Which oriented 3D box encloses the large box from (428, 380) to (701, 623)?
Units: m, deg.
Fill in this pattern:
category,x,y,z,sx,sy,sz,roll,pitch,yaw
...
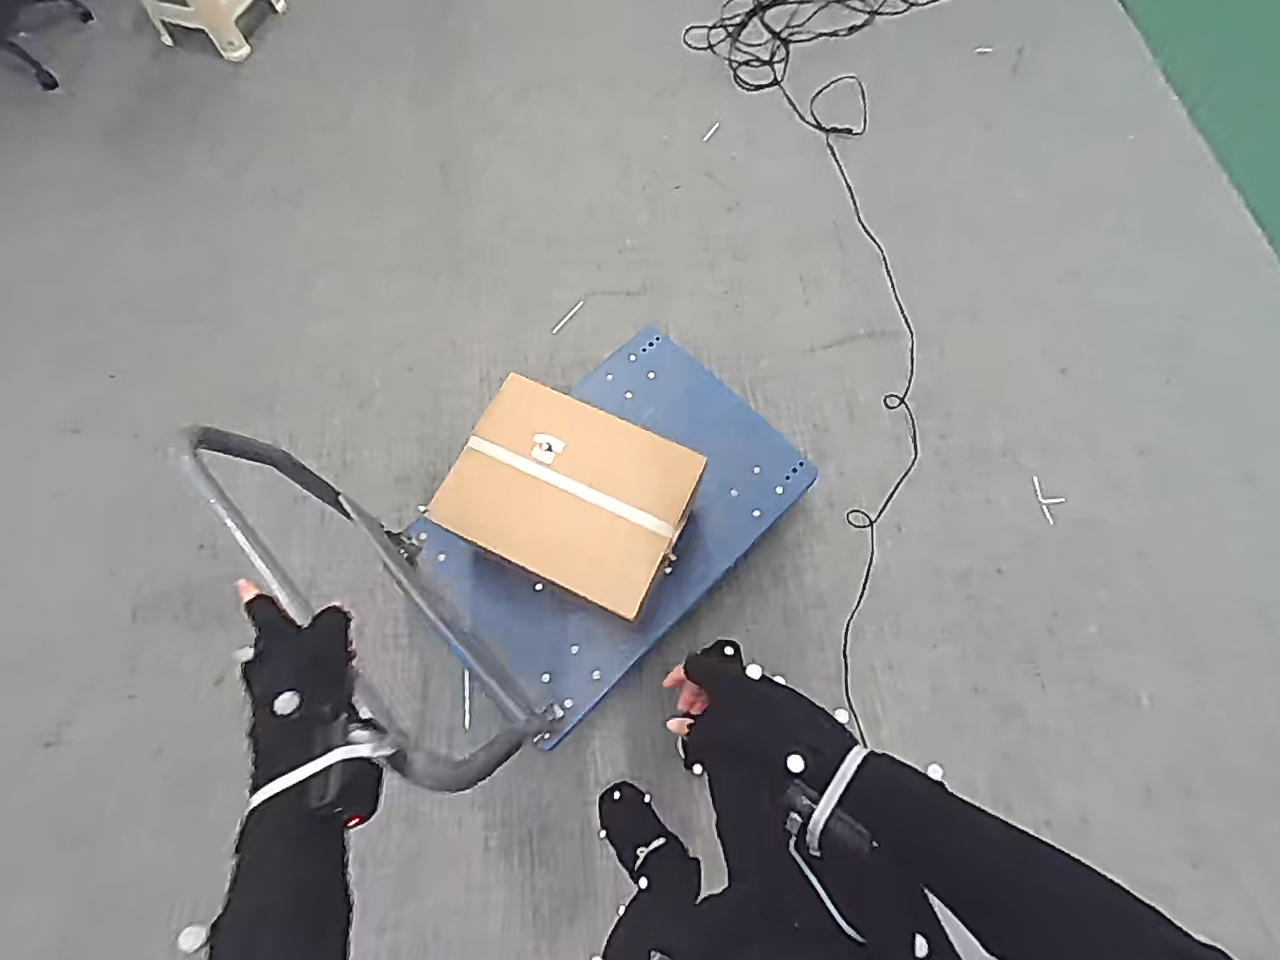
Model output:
category,x,y,z,sx,sy,sz,roll,pitch,yaw
large box,-0.125,0.061,1.098,0.408,0.320,0.320,24,73,9
